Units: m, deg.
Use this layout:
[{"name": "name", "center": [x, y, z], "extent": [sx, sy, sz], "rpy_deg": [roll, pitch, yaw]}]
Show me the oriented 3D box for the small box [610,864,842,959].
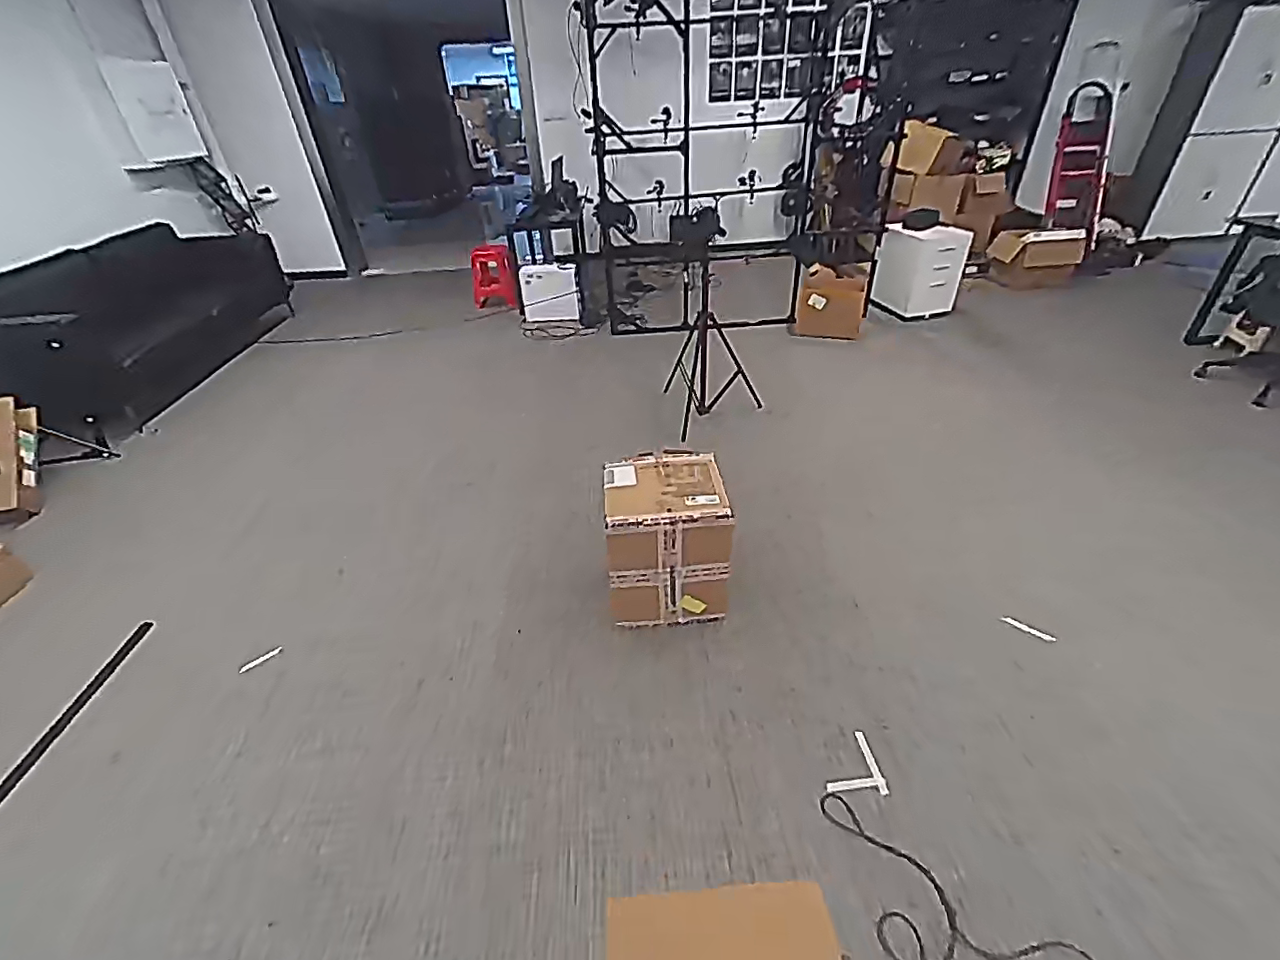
[{"name": "small box", "center": [0.063, 0.420, 0.397], "extent": [0.168, 0.176, 0.179], "rpy_deg": [-4, 35, -1]}]
